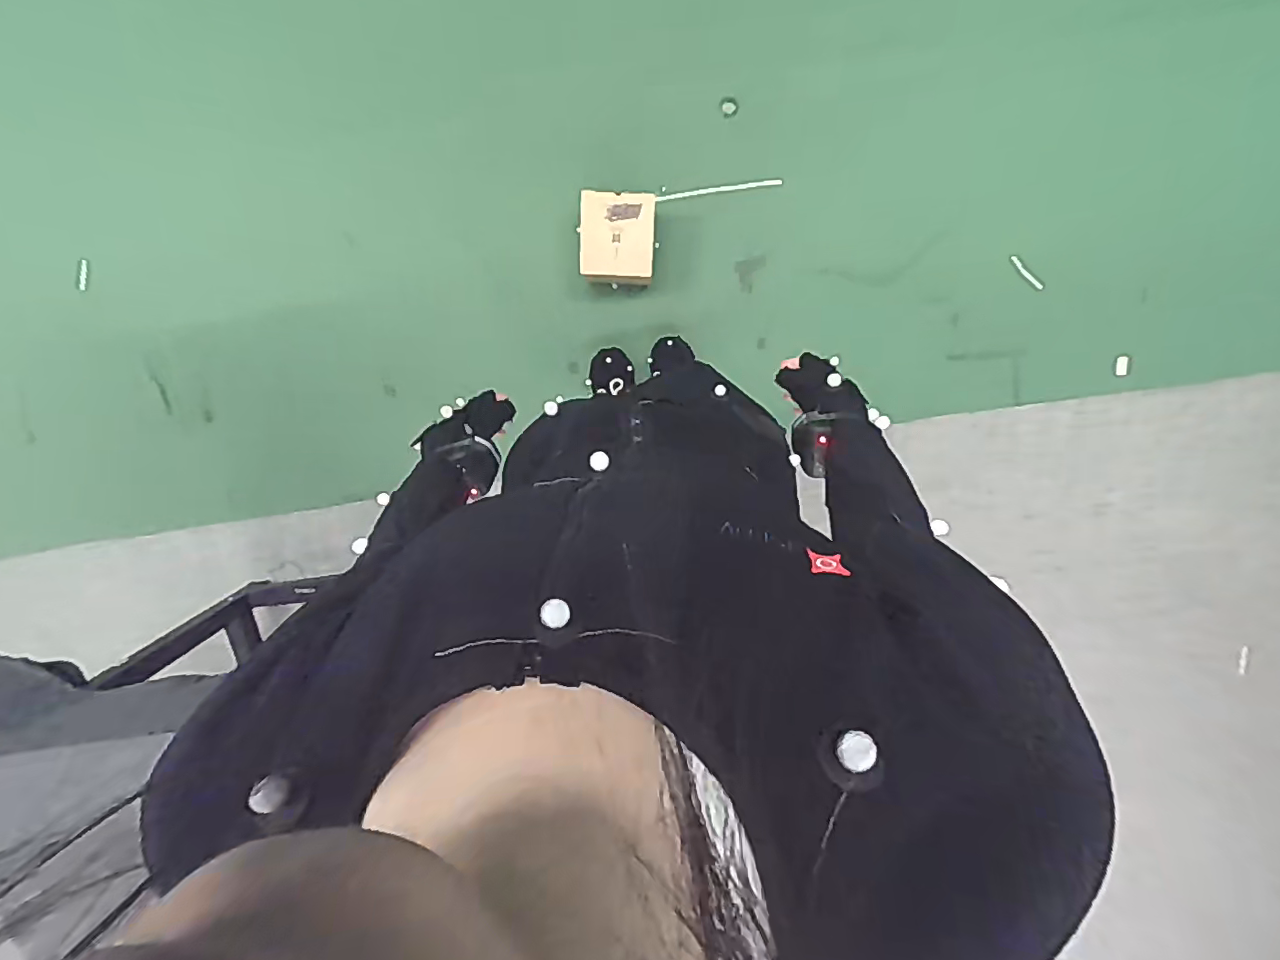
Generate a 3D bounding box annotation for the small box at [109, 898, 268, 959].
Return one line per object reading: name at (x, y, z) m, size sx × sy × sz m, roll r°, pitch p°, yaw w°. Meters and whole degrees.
small box at (-0.712, 0.786, 0.827) m, size 0.179 × 0.176 × 0.168 m, roll -11°, pitch 103°, yaw 1°

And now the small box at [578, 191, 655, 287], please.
small box at (-0.055, -0.558, 1.270) m, size 0.168 × 0.176 × 0.179 m, roll 2°, pitch 104°, yaw -1°
